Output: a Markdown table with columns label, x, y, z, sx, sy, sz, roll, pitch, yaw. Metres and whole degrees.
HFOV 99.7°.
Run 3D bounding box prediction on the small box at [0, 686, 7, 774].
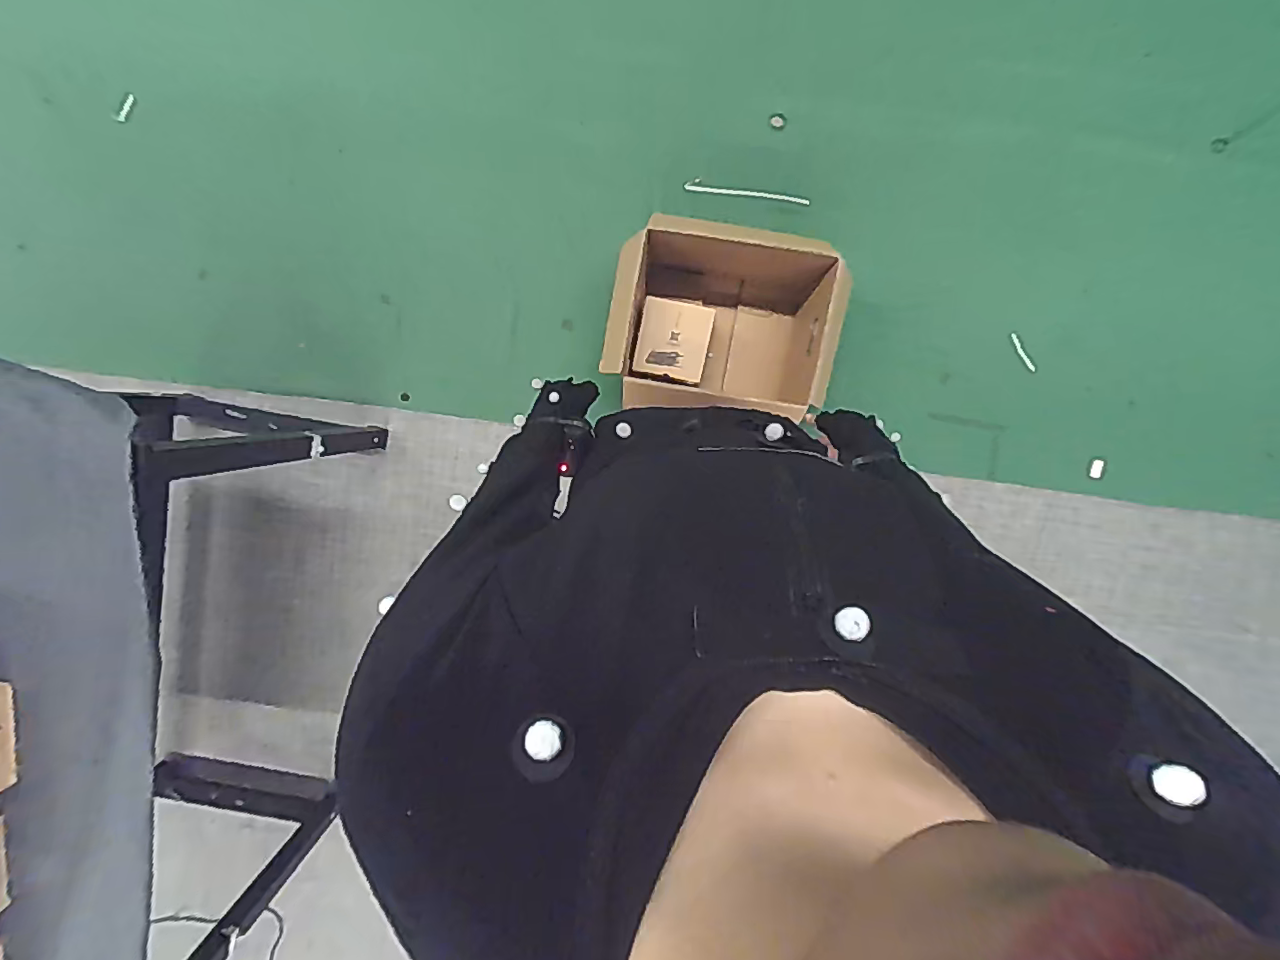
| label | x | y | z | sx | sy | sz | roll | pitch | yaw |
| --- | --- | --- | --- | --- | --- | --- | --- | --- | --- |
| small box | -1.041 | 0.383 | 0.743 | 0.179 | 0.176 | 0.168 | 7 | 98 | 1 |
